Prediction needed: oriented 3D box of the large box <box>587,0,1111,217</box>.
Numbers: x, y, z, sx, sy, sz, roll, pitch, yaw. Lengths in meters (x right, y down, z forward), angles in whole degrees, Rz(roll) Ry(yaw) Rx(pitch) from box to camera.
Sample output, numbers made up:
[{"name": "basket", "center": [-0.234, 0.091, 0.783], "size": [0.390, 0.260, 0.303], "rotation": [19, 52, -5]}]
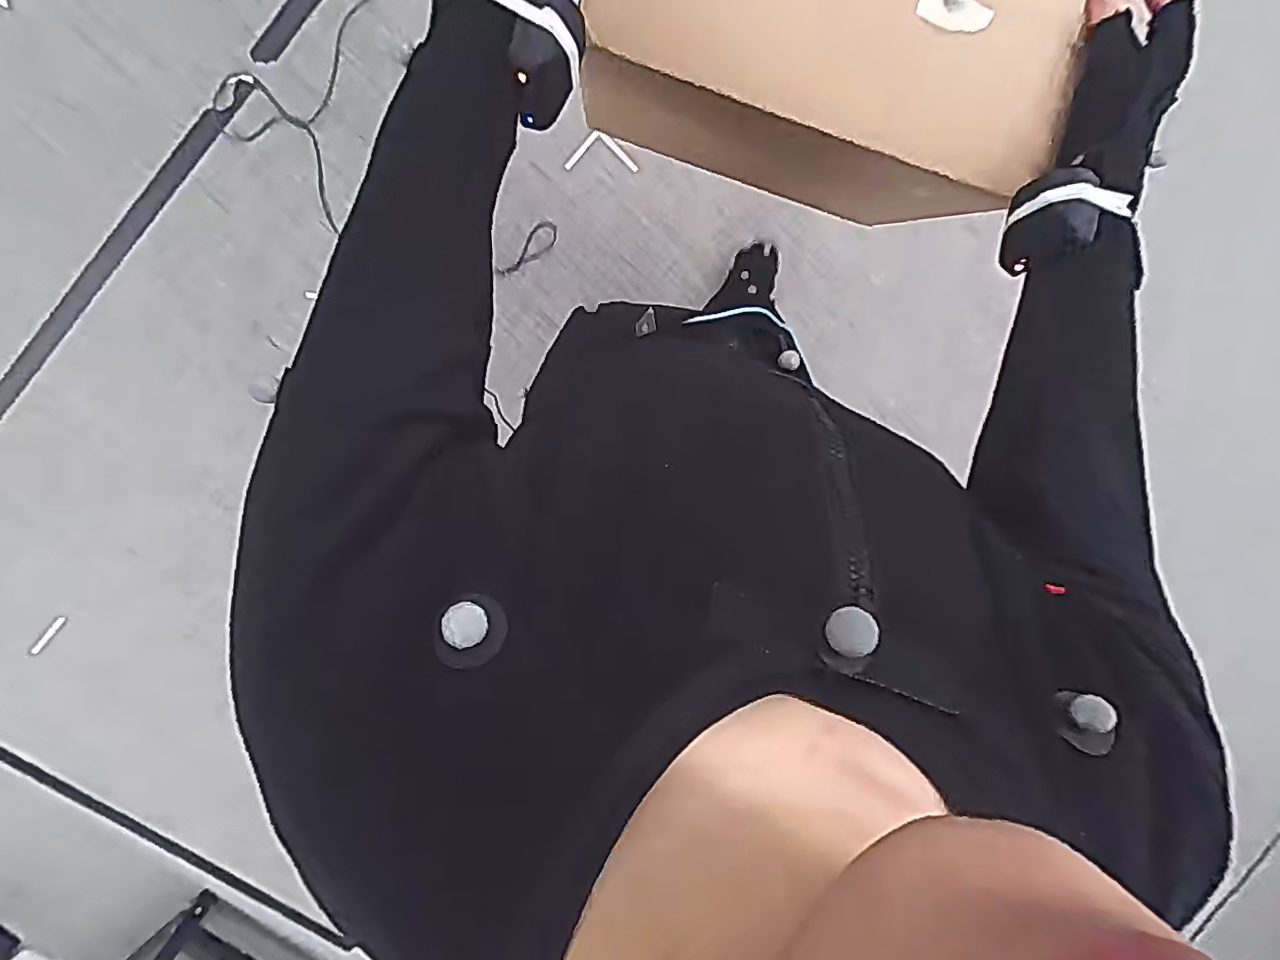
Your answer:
[{"name": "large box", "center": [0.174, -0.487, 0.533], "size": [0.408, 0.320, 0.320], "rotation": [13, 112, -10]}]
